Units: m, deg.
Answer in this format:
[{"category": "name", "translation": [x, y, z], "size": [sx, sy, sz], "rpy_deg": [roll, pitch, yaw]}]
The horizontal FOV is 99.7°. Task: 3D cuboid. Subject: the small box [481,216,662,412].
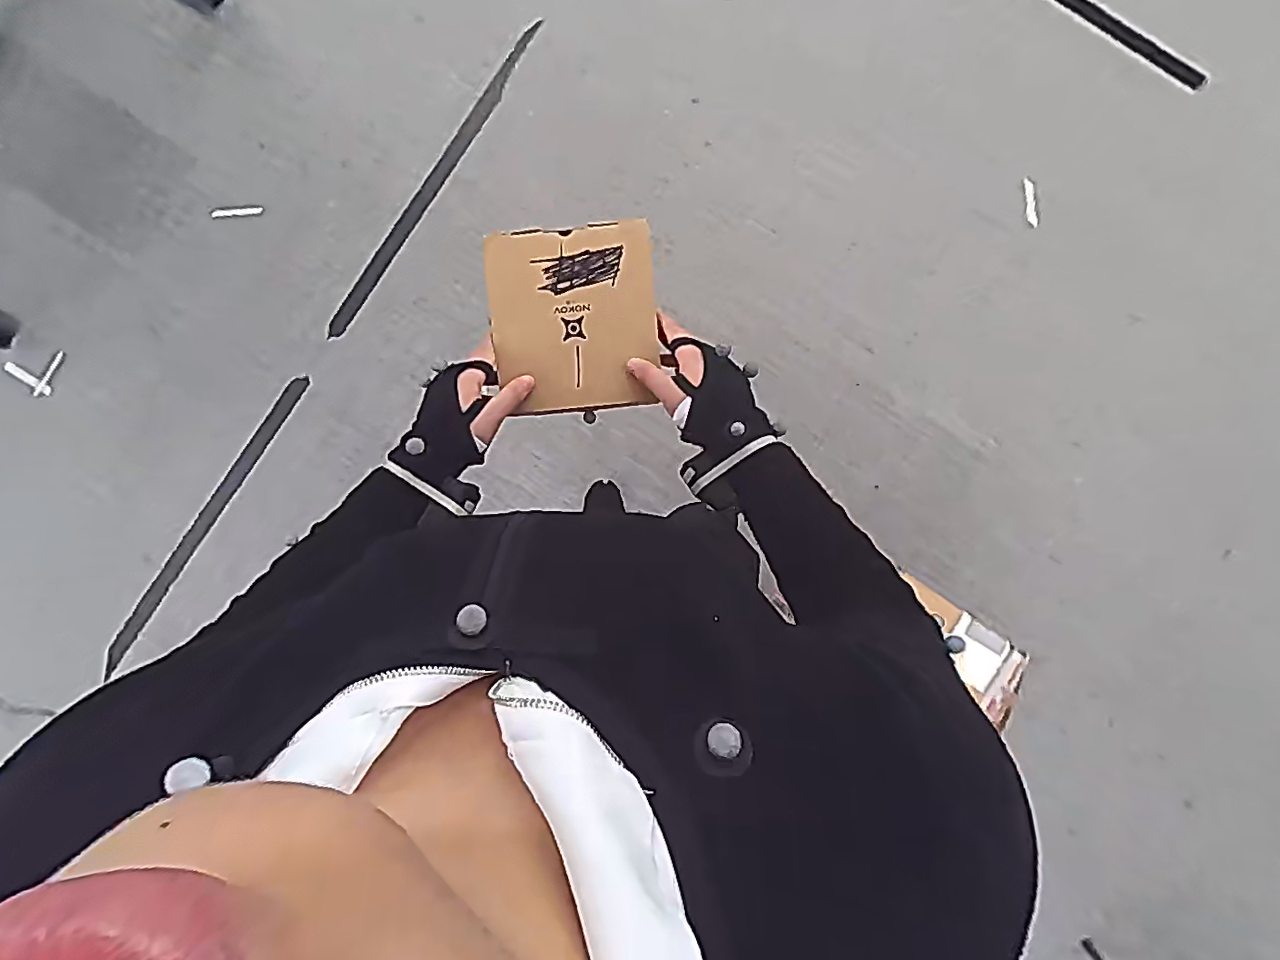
[{"category": "small box", "translation": [-0.067, -0.172, 0.613], "size": [0.168, 0.176, 0.179], "rpy_deg": [-6, 97, 2]}]
